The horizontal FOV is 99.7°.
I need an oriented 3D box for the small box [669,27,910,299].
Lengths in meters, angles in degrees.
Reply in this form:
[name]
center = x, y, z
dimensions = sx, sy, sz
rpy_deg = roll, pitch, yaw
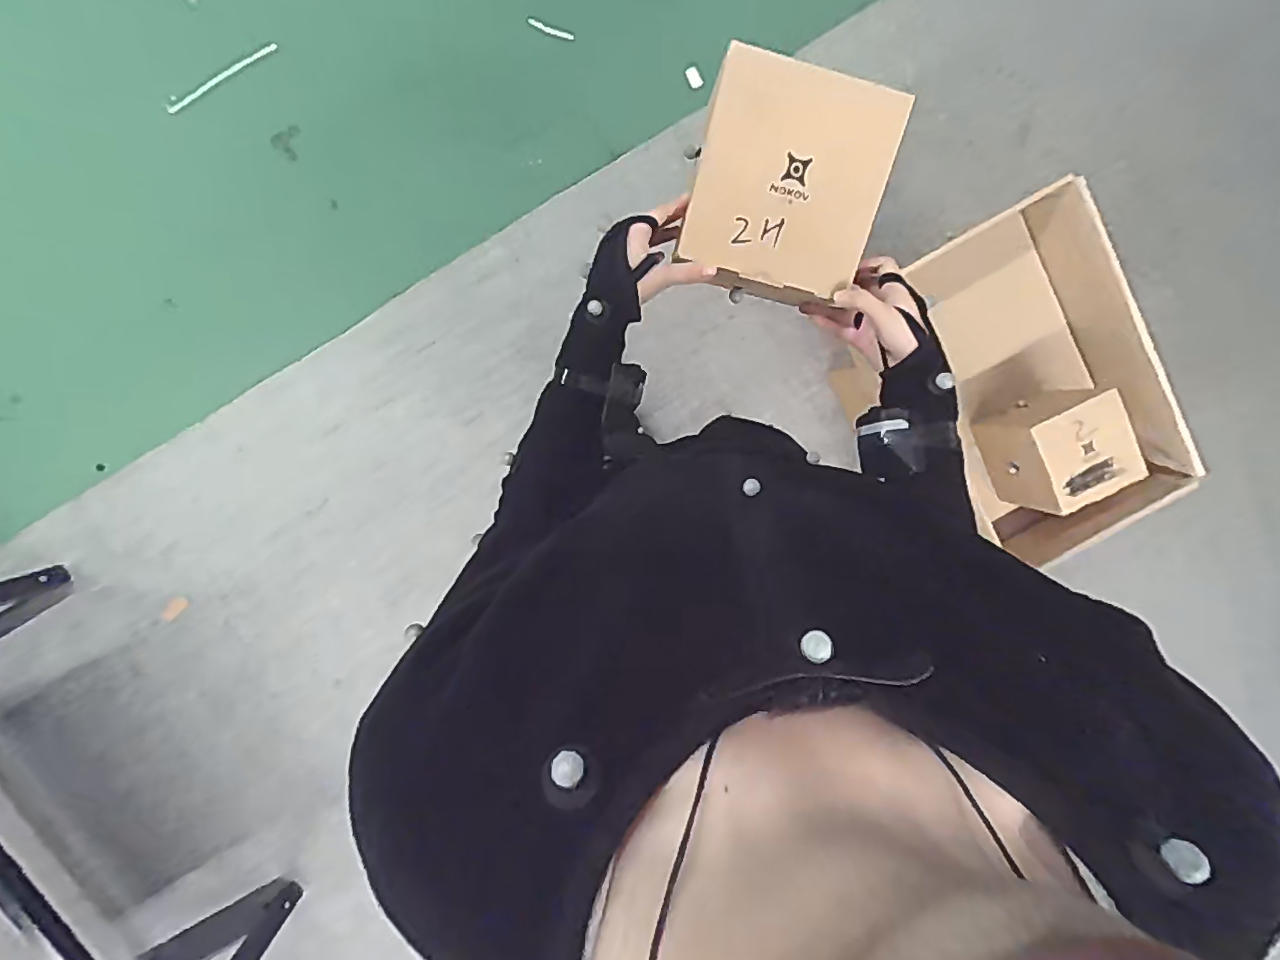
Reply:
[small box]
center = 0.128, -0.293, 0.546
dimensions = 0.168, 0.176, 0.179
rpy_deg = 14, 106, -4
